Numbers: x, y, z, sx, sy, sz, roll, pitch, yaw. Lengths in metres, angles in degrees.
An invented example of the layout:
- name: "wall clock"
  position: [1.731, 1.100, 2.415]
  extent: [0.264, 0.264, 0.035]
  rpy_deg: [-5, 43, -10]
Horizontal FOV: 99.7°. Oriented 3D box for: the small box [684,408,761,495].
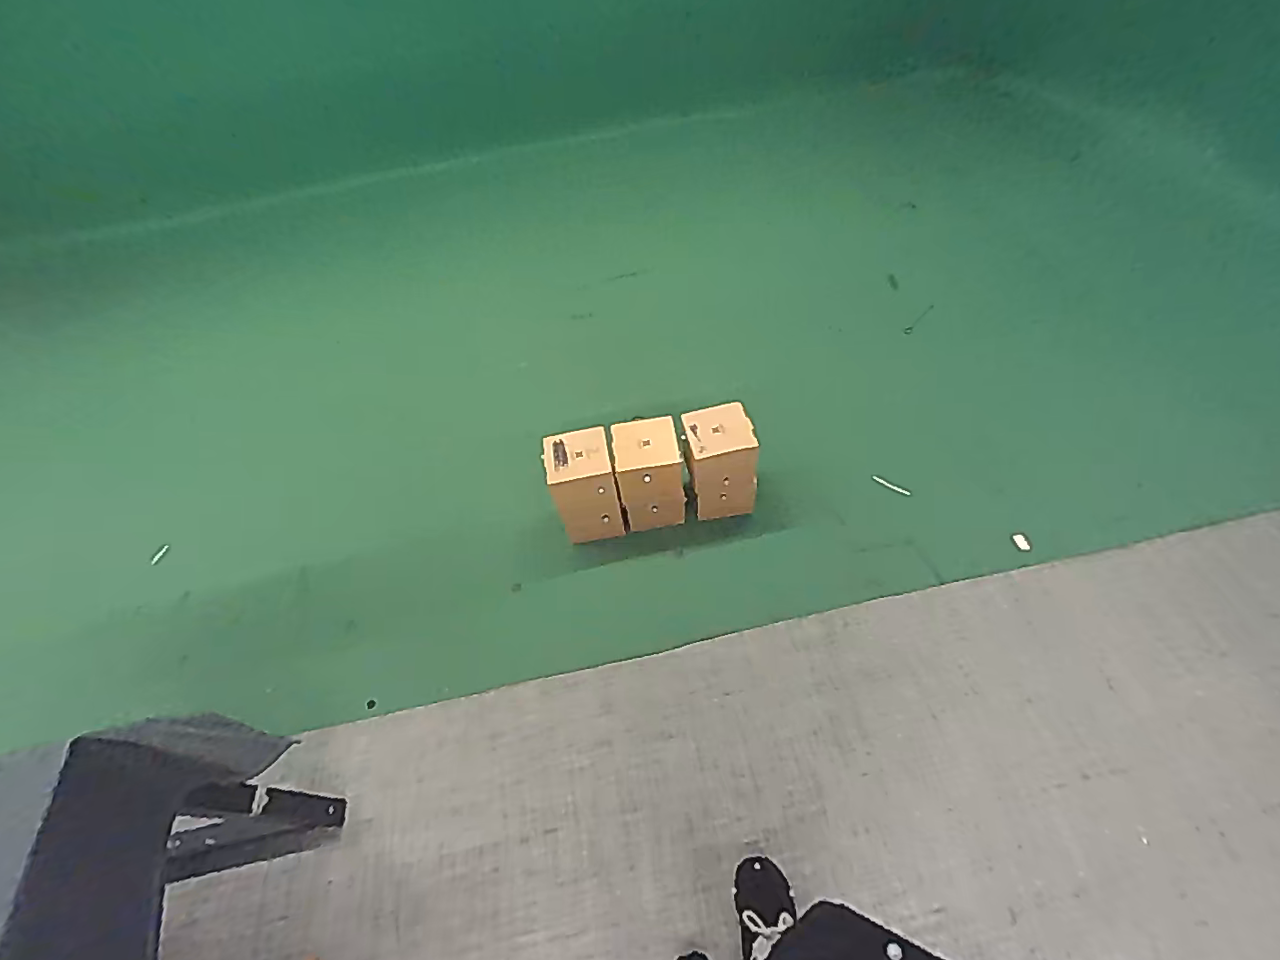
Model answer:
- name: "small box"
  position: [0.226, -0.077, 1.534]
  extent: [0.179, 0.176, 0.168]
  rpy_deg: [-11, 54, -3]
